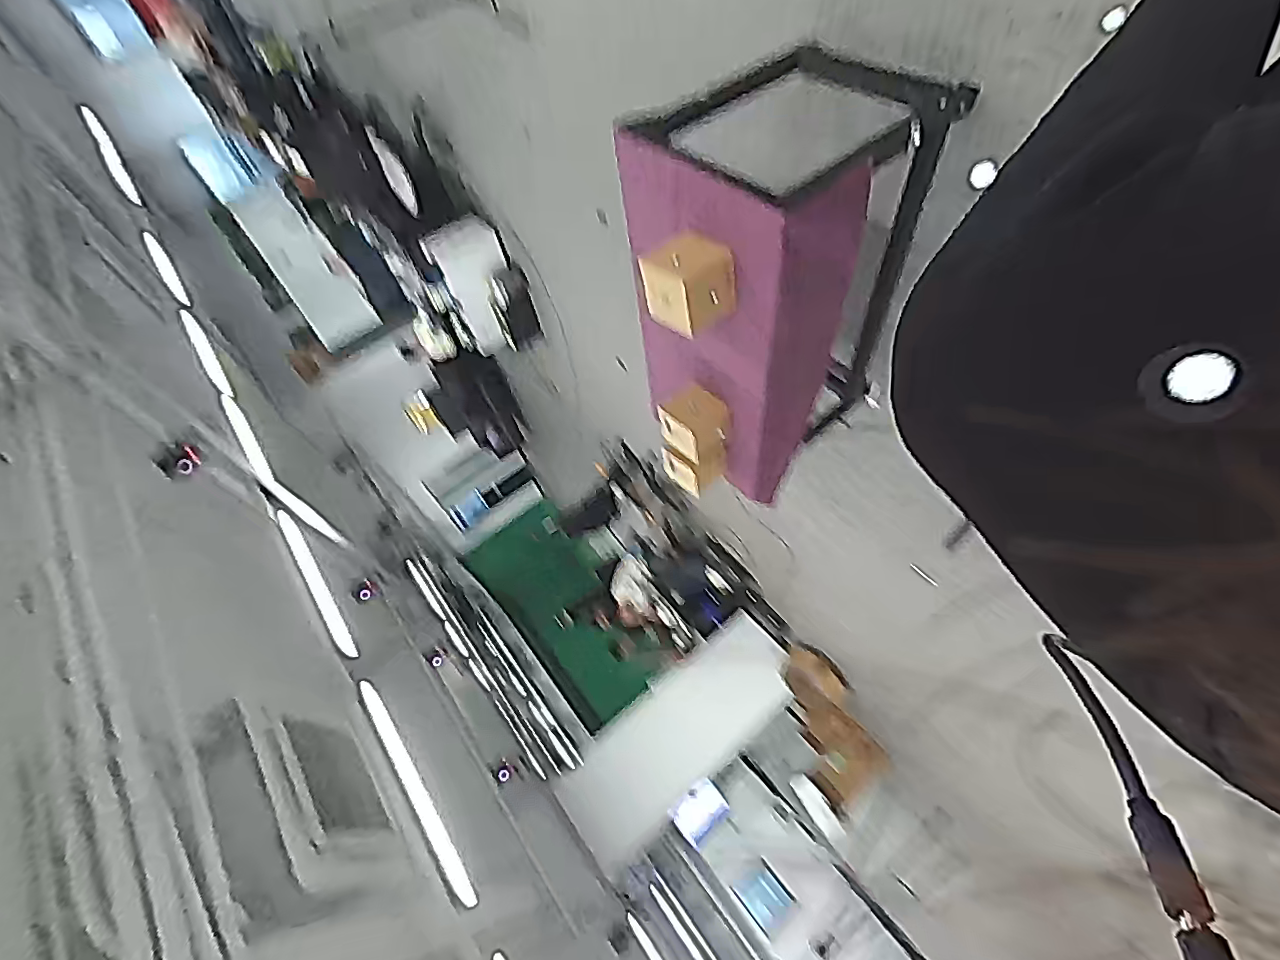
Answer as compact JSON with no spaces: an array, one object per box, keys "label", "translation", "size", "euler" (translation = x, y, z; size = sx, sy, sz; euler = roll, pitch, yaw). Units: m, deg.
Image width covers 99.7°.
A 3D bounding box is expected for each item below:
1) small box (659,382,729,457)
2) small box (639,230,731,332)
[{"label":"small box","translation":[0.193,-0.220,1.912],"size":[0.179,0.176,0.168],"euler":[42,161,32]},{"label":"small box","translation":[0.126,-0.530,1.425],"size":[0.179,0.176,0.168],"euler":[42,161,35]}]
